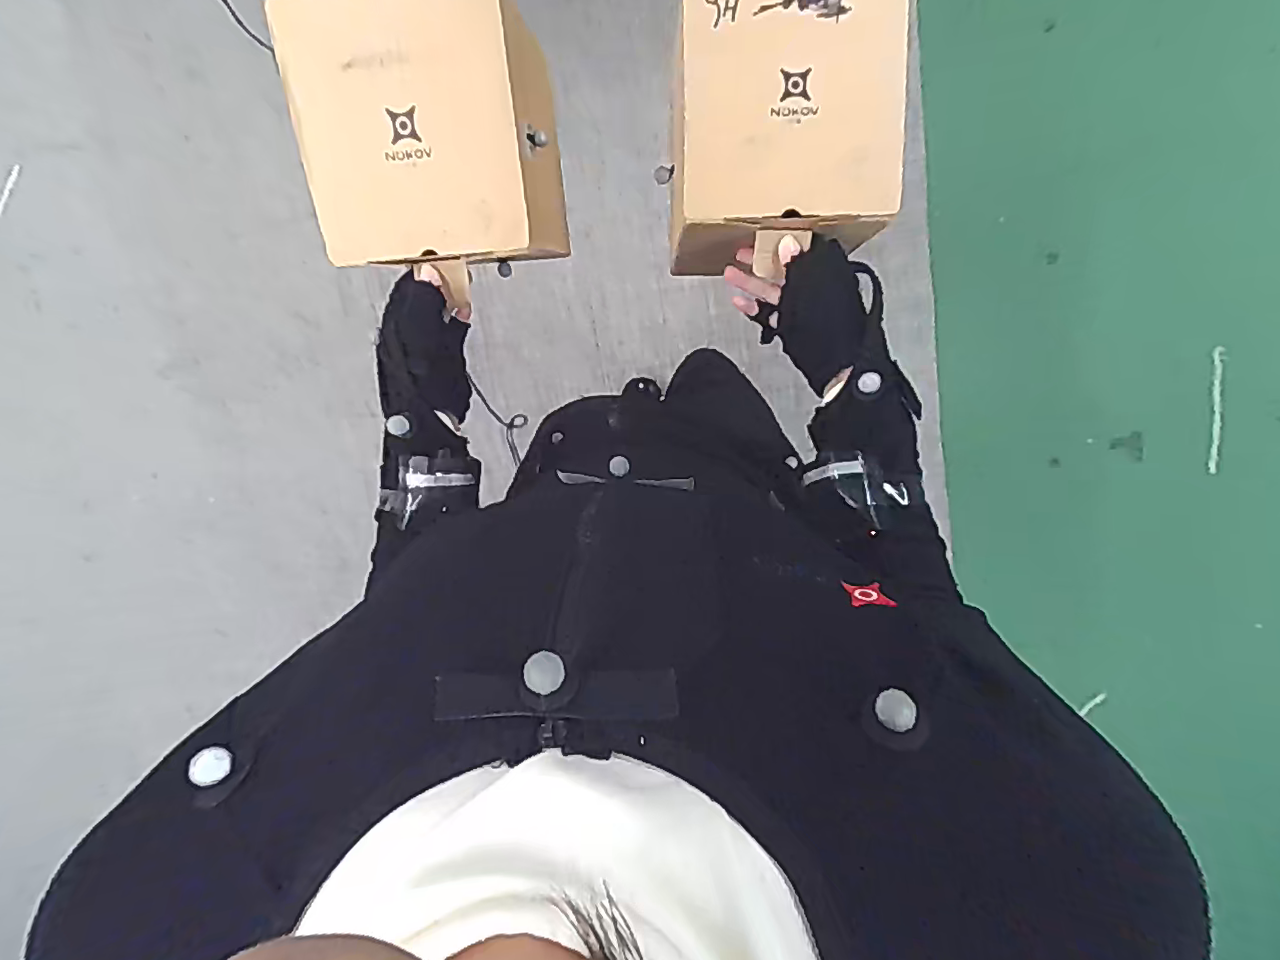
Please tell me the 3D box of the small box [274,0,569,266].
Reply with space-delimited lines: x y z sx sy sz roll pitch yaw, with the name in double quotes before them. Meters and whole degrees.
"small box" -0.165 -0.290 0.478 0.168 0.176 0.179 -3 111 5
